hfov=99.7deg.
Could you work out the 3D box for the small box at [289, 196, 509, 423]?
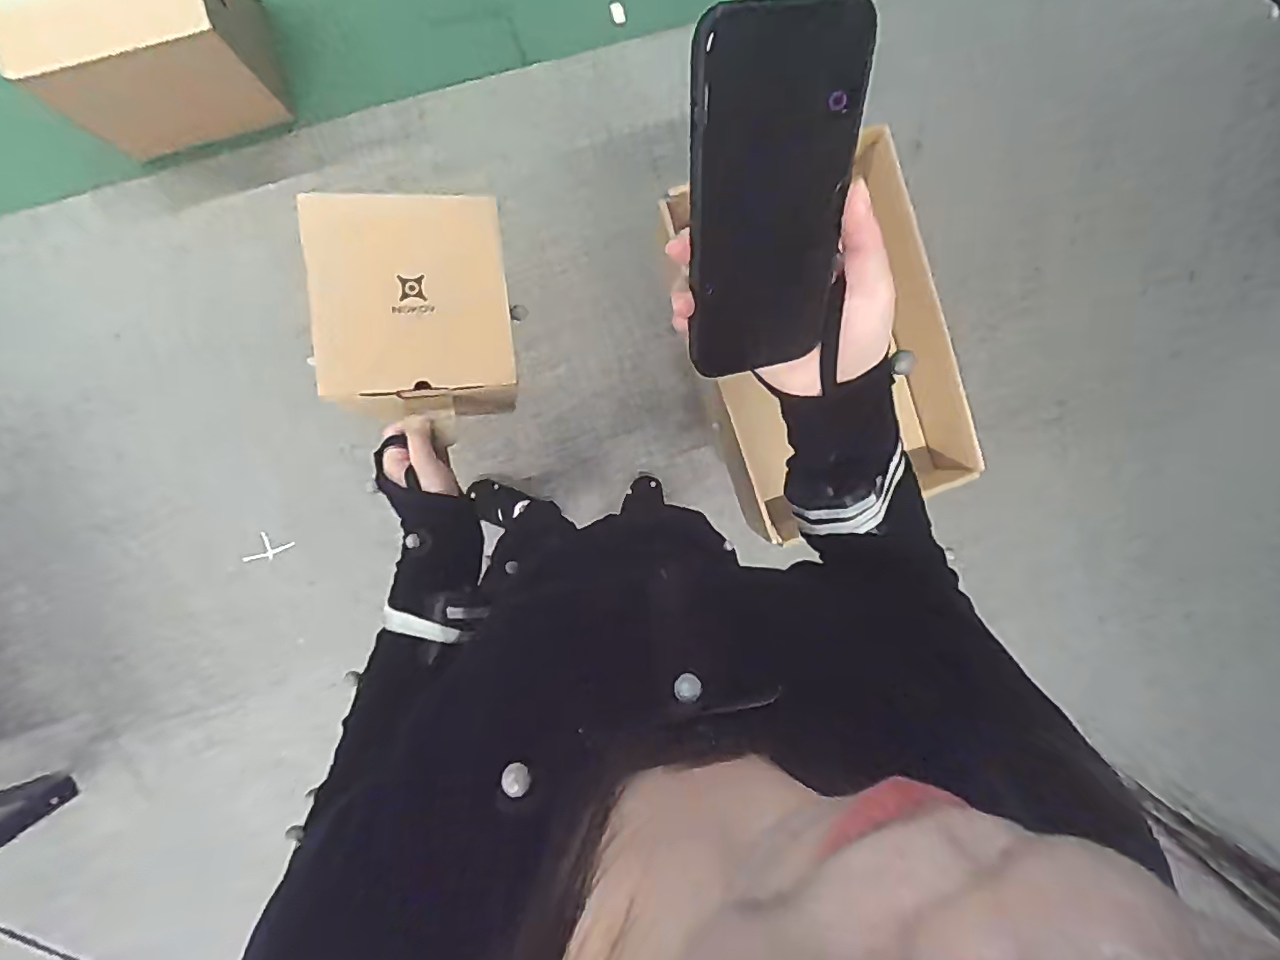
[{"bbox_3d":[-0.229,-0.160,0.552,0.168,0.176,0.179,-7,91,-14],"label":"small box"}]
